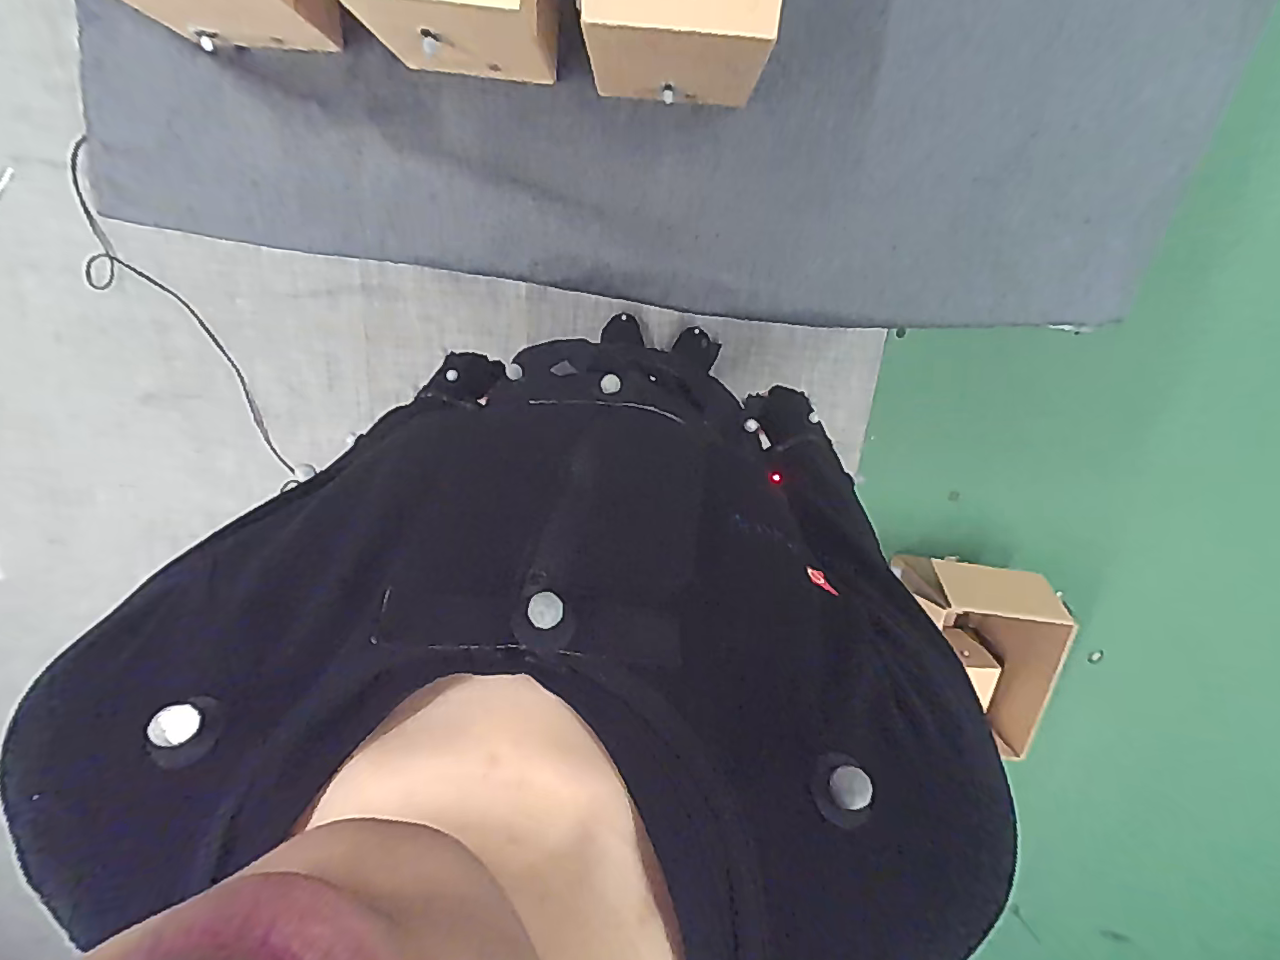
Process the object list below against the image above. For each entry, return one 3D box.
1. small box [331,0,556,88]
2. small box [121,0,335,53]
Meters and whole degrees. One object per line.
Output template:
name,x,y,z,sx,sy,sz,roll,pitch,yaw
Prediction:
small box,-0.169,-0.495,0.496,0.168,0.176,0.179,6,107,-1
small box,-0.404,-0.525,0.489,0.168,0.176,0.179,3,106,0
